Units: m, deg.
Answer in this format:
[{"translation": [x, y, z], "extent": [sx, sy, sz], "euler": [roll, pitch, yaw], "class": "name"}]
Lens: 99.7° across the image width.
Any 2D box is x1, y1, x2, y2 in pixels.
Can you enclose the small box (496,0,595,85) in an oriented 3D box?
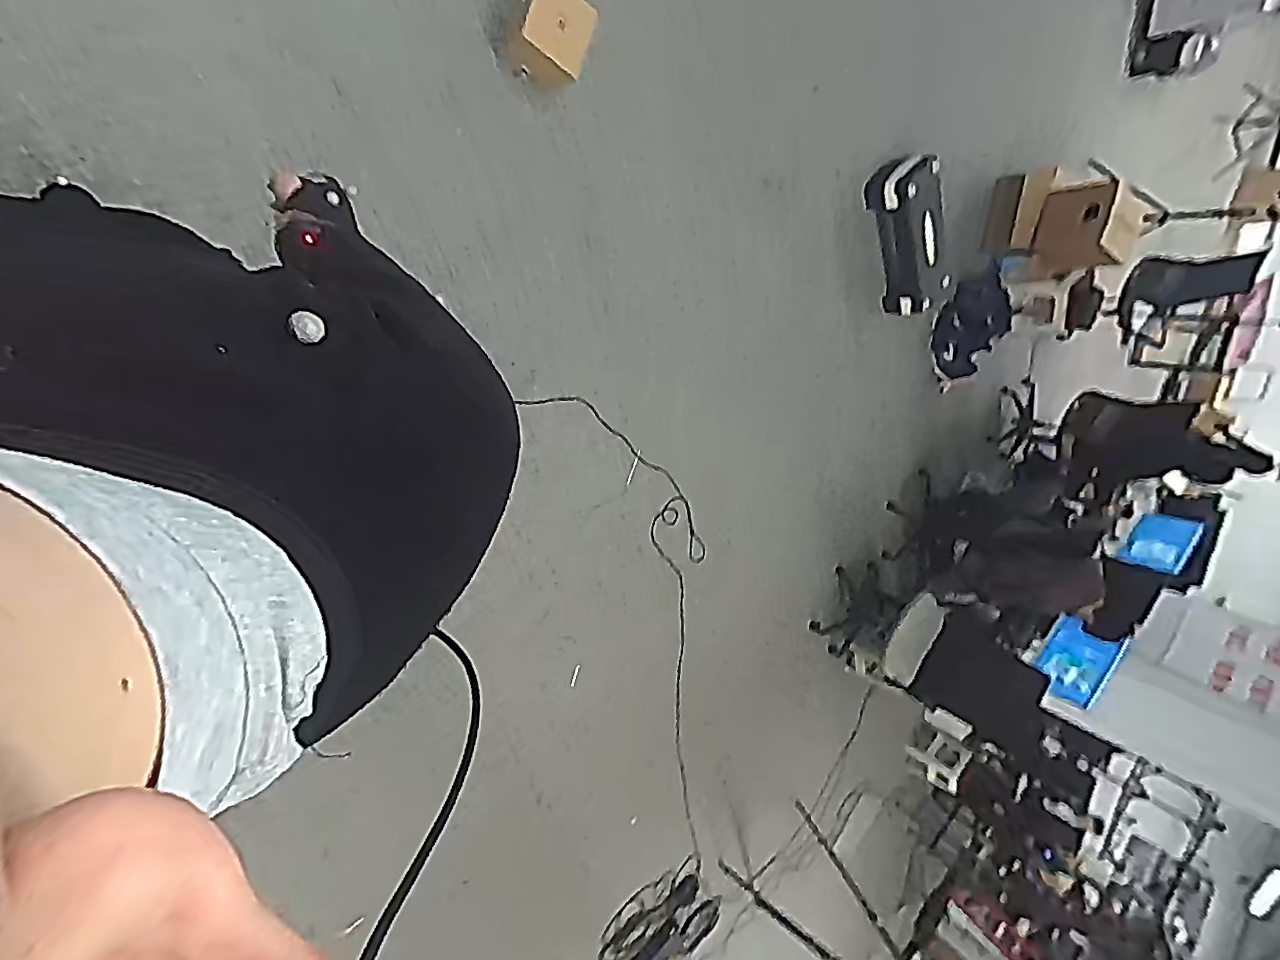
[{"translation": [-0.246, -1.161, 1.376], "extent": [0.168, 0.176, 0.179], "euler": [14, 99, -40], "class": "small box"}]
